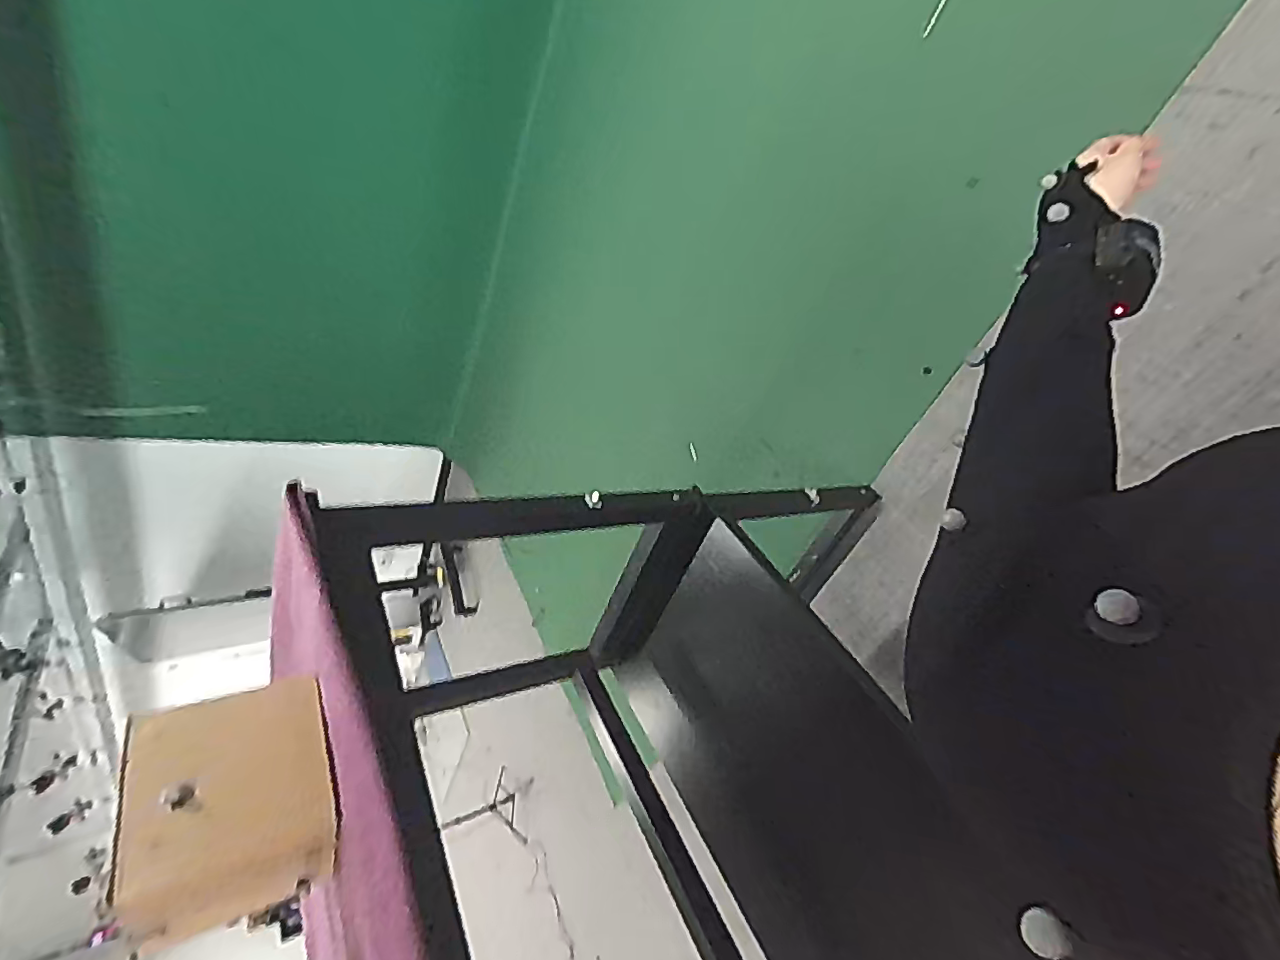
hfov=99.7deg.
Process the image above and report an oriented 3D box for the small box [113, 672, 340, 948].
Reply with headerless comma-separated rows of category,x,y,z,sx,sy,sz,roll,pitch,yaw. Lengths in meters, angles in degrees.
small box,-0.431,0.339,0.584,0.179,0.176,0.168,53,132,37
